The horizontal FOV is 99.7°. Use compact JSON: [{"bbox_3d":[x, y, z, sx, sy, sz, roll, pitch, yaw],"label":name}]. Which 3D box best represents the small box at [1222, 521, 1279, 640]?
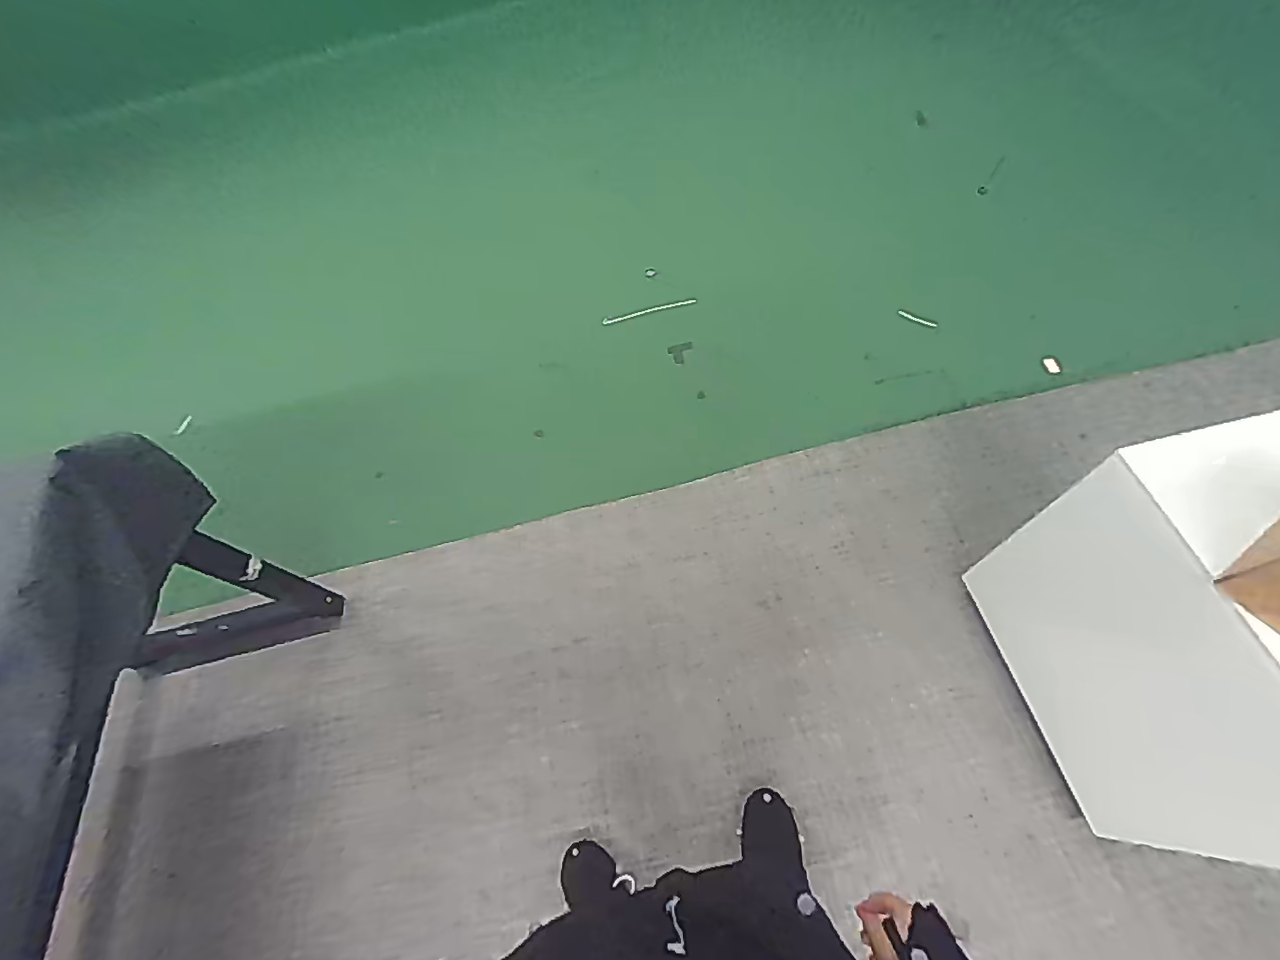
[{"bbox_3d":[0.793,0.101,0.562,0.179,0.176,0.168,-34,63,-11],"label":"small box"}]
